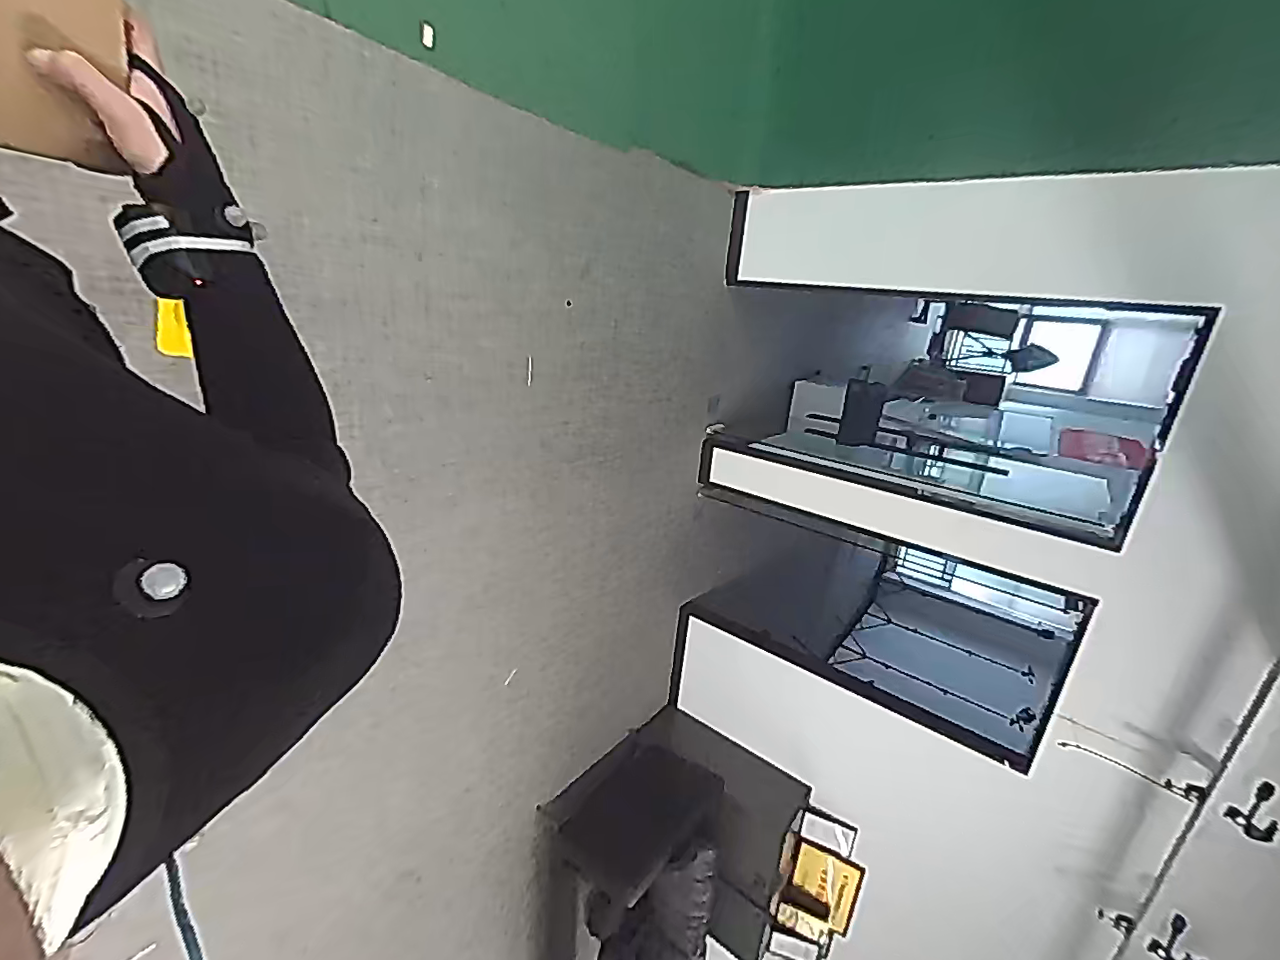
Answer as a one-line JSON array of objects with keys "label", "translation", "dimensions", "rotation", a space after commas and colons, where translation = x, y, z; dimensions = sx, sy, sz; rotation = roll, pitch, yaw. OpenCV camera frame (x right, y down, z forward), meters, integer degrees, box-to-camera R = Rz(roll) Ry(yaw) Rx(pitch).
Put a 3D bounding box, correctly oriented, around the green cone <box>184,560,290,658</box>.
[{"label": "green cone", "translation": [-1.002, 0.373, 1.405], "dimensions": [0.200, 0.368, 0.202], "rotation": [-9, 111, -53]}]
